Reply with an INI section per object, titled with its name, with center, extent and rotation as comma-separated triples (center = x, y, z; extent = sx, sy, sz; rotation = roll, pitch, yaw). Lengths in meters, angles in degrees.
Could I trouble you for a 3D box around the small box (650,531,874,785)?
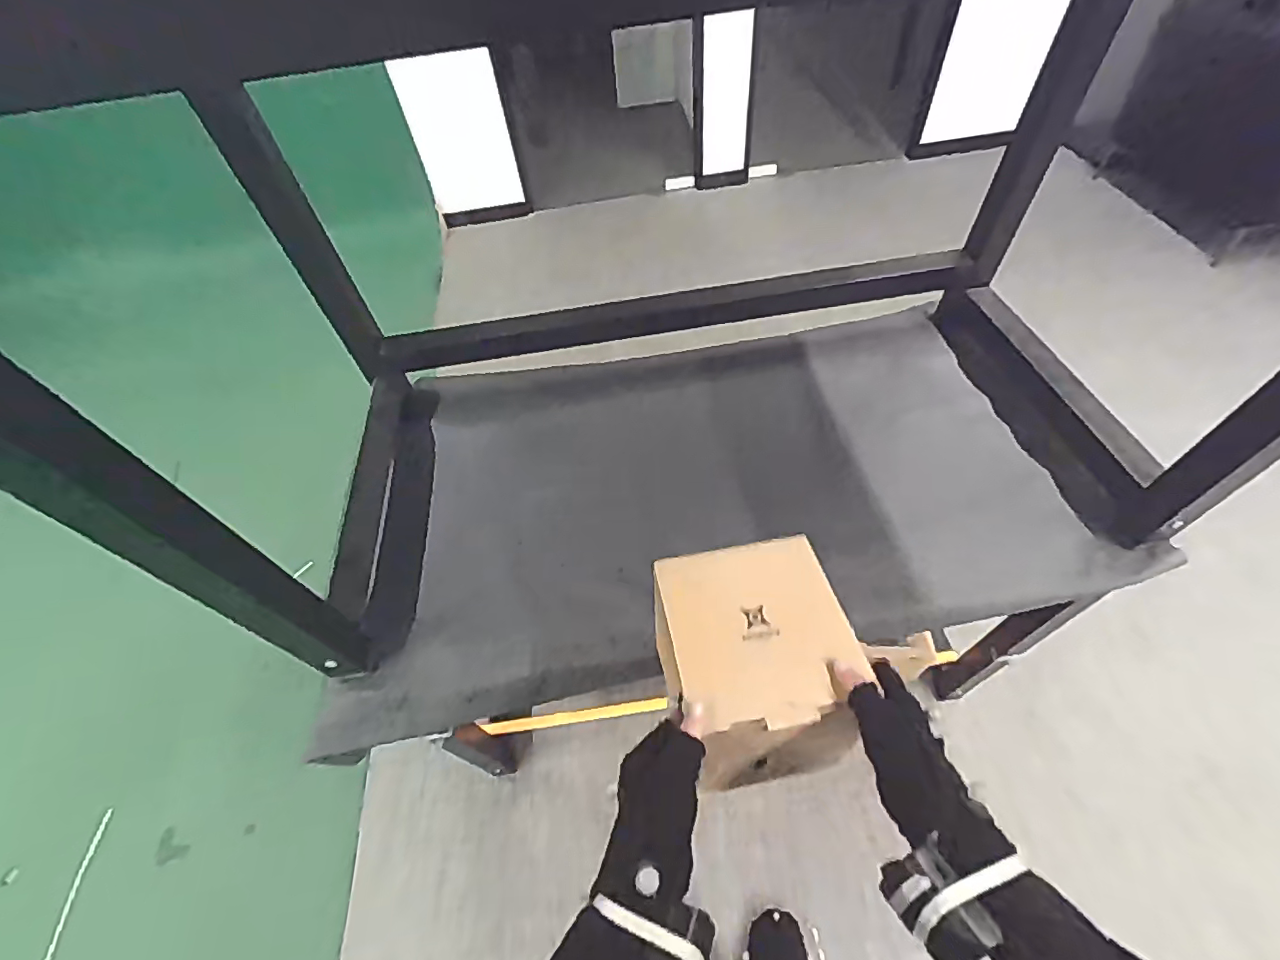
[small box]
center = 0.105, 0.181, 0.556
extent = 0.168, 0.176, 0.179
rotation = -10, 45, -4
